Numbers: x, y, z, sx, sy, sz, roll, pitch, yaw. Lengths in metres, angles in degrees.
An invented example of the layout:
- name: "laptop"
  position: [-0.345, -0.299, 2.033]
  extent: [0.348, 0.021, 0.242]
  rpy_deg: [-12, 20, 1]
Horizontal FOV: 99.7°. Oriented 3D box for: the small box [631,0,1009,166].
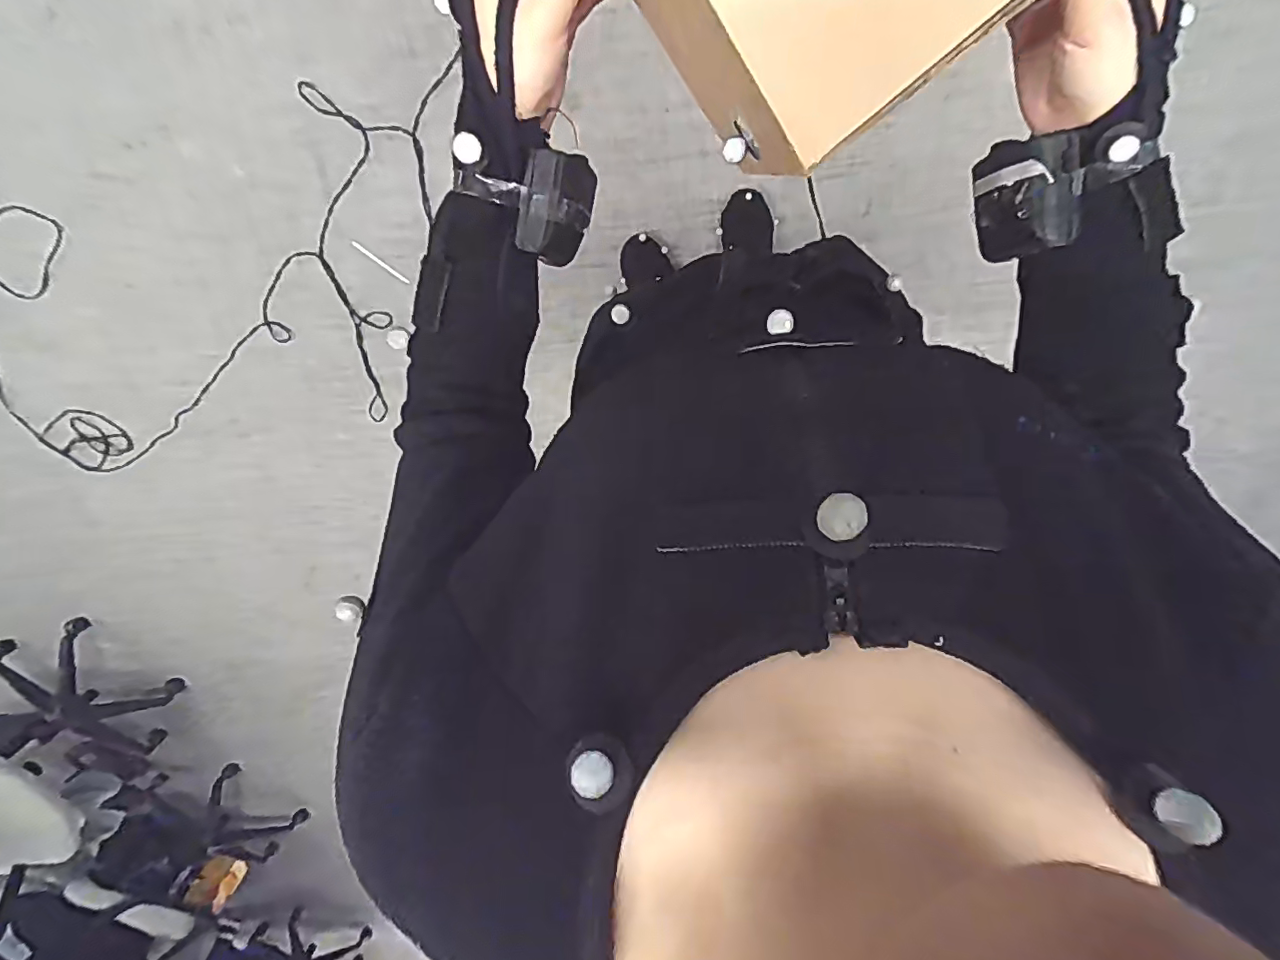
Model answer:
- name: "small box"
  position: [0.082, -0.276, 0.239]
  extent: [0.179, 0.168, 0.176]
  rpy_deg: [-36, 114, 18]
